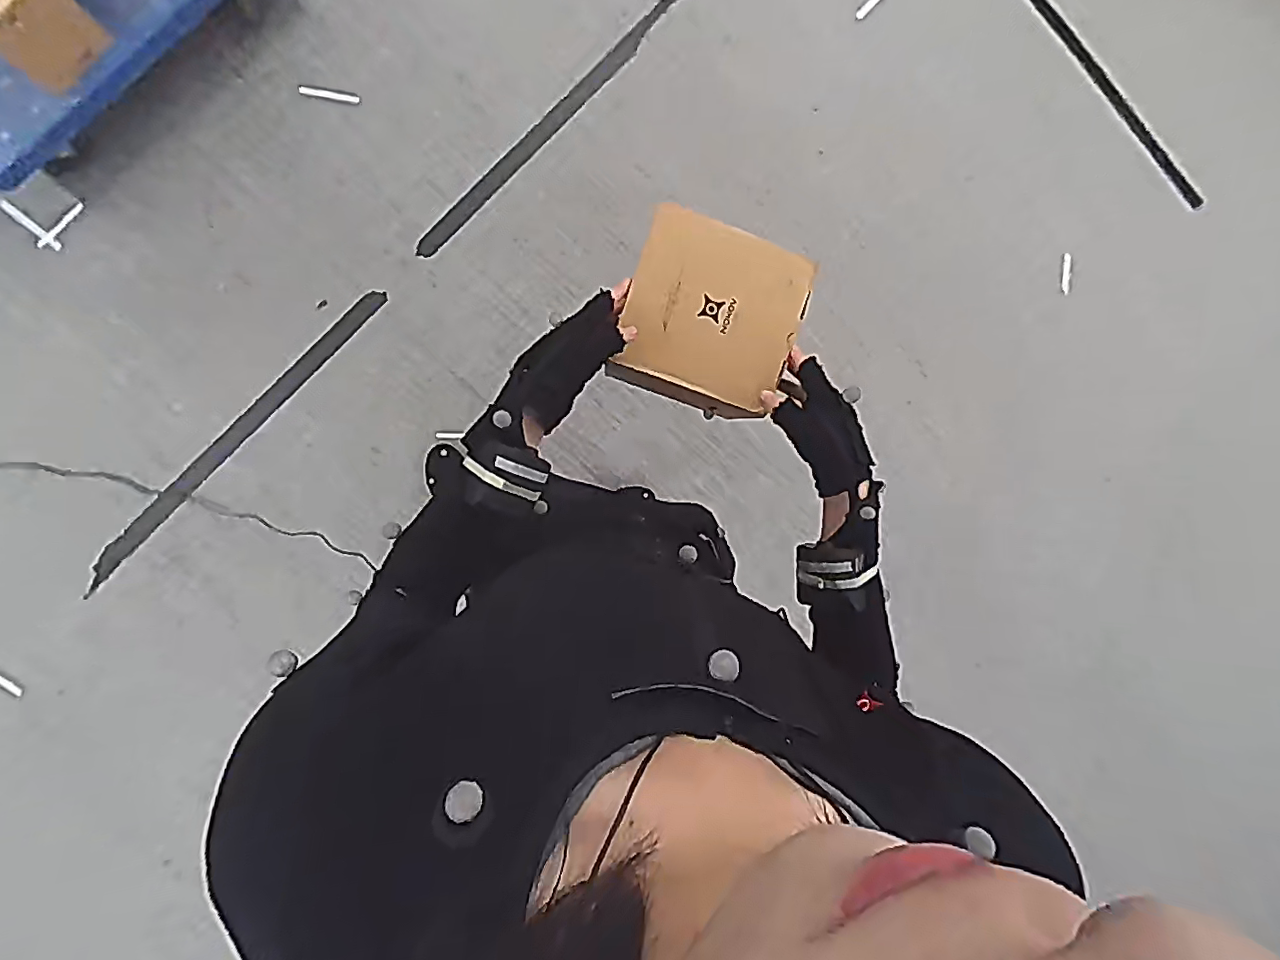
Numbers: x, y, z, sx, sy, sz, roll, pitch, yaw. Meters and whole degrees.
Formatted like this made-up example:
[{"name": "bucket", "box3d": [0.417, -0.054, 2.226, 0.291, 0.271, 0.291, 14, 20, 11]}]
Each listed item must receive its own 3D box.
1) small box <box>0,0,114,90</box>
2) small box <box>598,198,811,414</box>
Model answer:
[{"name": "small box", "box3d": [-1.192, -0.908, 1.030, 0.179, 0.176, 0.168, 39, 86, -7]}, {"name": "small box", "box3d": [0.059, -0.178, 0.613, 0.179, 0.176, 0.168, 17, 93, -6]}]
